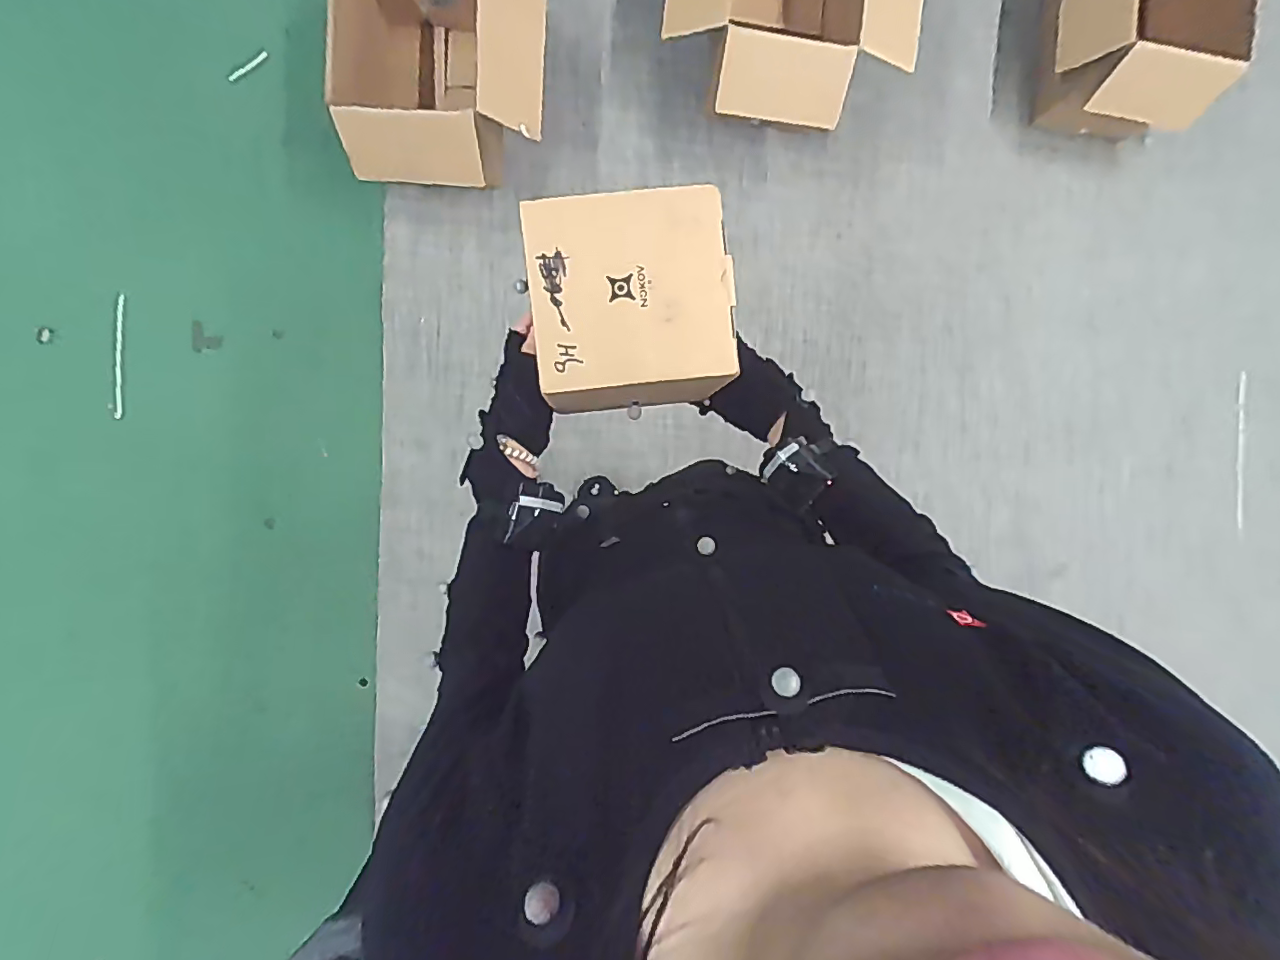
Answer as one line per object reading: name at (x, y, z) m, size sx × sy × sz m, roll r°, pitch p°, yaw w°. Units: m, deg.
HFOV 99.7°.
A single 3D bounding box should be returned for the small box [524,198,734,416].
small box at (-0.016, -0.161, 0.551) m, size 0.179 × 0.176 × 0.168 m, roll -5°, pitch 89°, yaw -5°
